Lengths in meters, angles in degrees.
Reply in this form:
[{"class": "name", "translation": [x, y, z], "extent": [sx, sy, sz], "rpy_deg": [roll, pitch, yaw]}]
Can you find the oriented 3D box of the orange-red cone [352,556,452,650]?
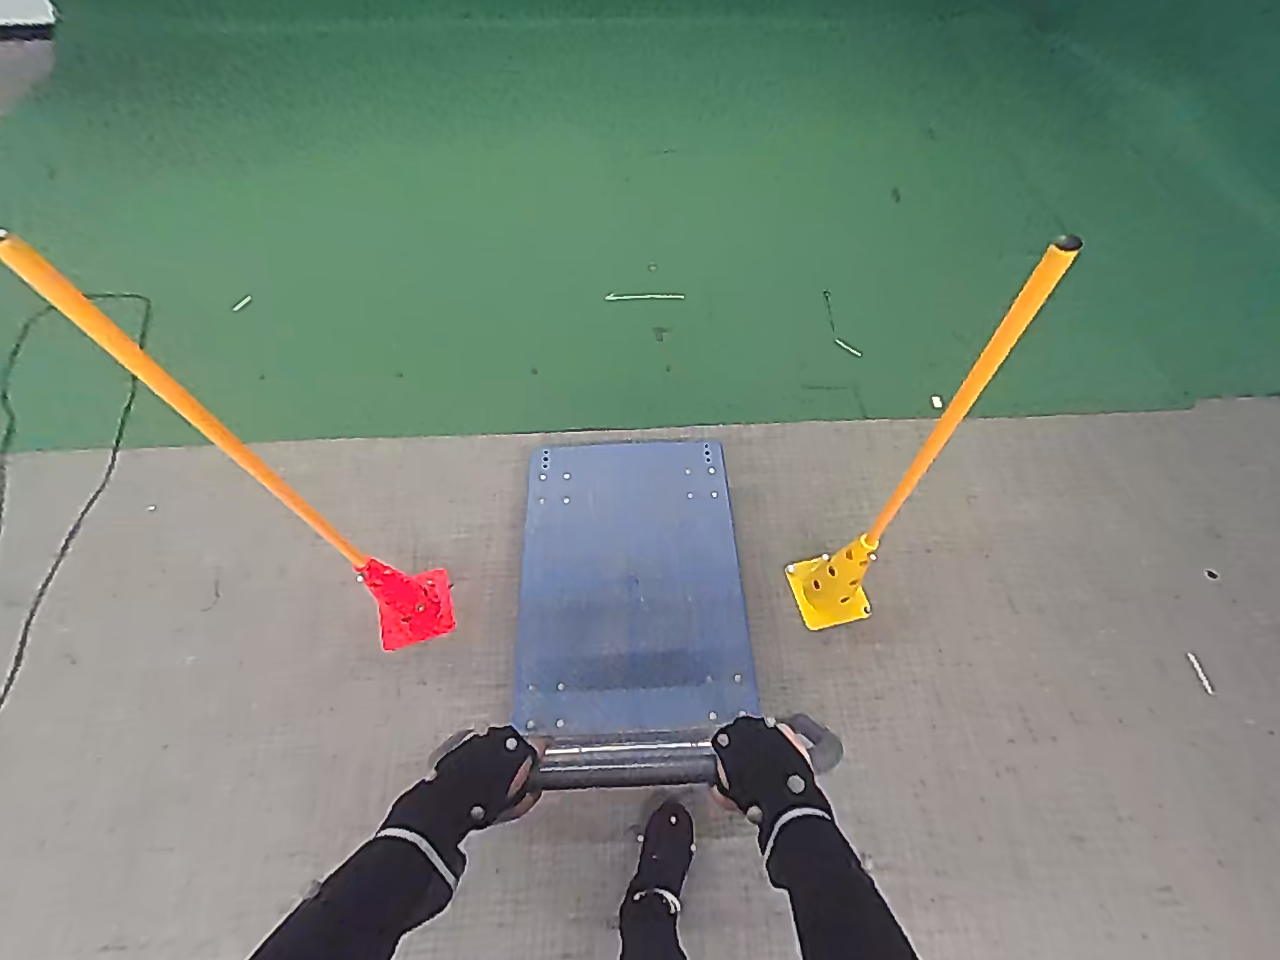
[{"class": "orange-red cone", "translation": [-0.640, 0.280, 1.386], "extent": [0.199, 0.360, 0.198], "rpy_deg": [-15, 61, -7]}]
